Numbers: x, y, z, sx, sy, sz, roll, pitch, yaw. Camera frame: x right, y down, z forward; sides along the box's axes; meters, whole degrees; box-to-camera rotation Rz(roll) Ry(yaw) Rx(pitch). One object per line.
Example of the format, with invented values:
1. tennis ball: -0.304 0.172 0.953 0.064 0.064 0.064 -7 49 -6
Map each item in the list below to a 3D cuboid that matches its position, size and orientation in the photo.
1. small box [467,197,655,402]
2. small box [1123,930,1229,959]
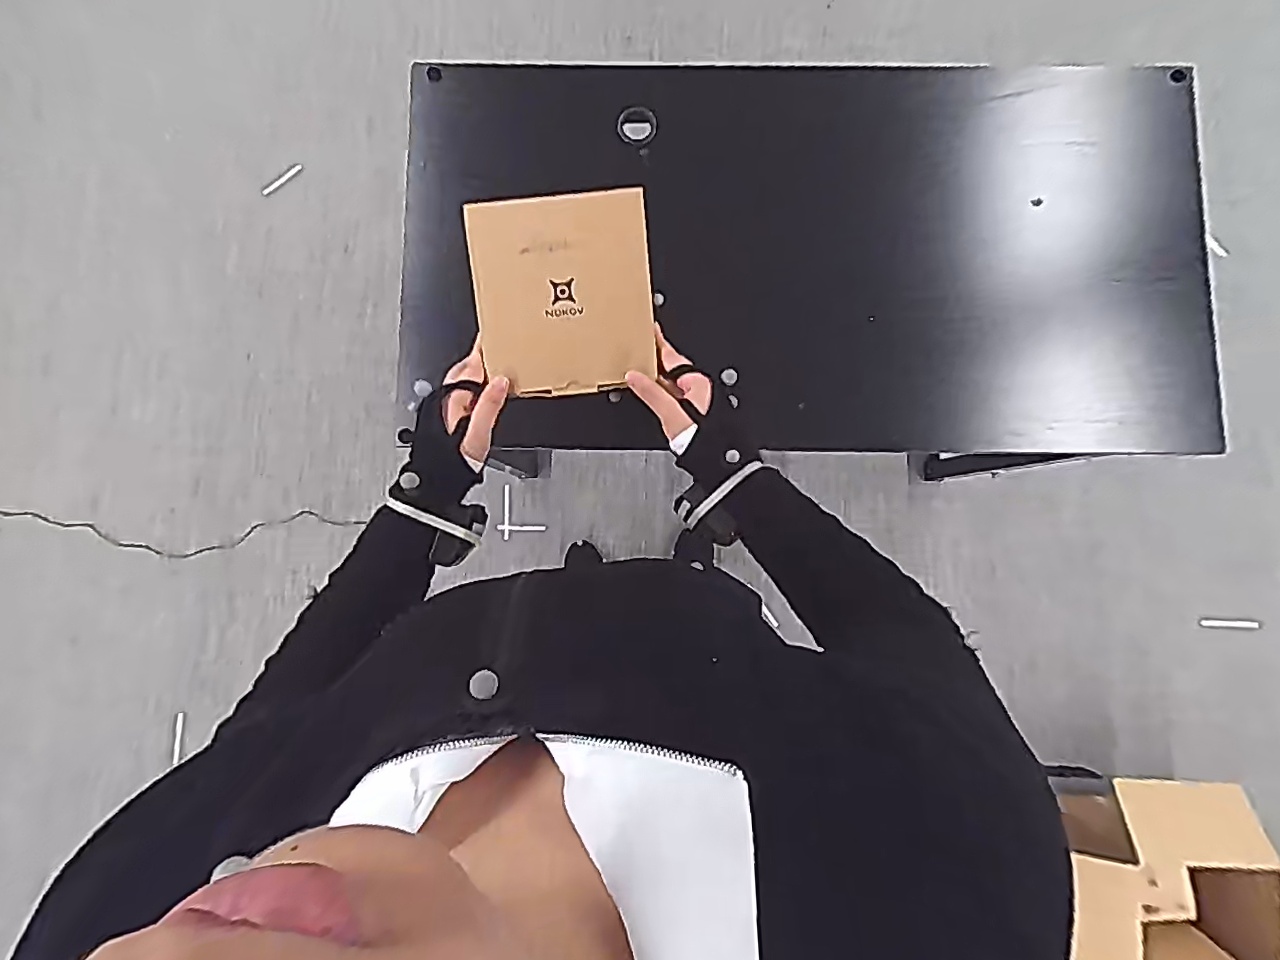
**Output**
1. small box: -0.072 -0.180 0.586 0.168 0.176 0.179 -5 98 -1
2. small box: 1.184 1.113 1.156 0.179 0.176 0.168 -5 89 0
